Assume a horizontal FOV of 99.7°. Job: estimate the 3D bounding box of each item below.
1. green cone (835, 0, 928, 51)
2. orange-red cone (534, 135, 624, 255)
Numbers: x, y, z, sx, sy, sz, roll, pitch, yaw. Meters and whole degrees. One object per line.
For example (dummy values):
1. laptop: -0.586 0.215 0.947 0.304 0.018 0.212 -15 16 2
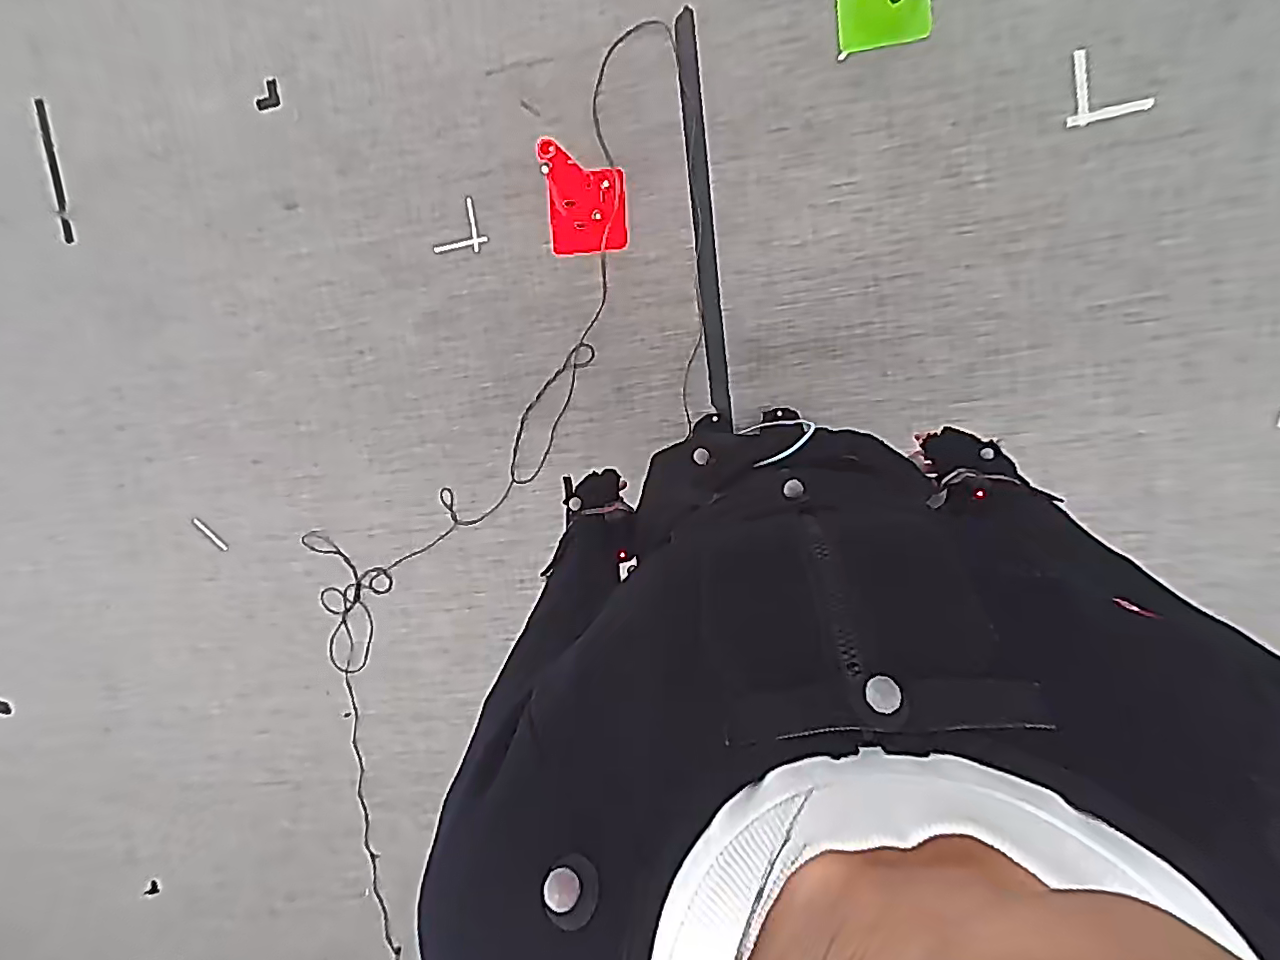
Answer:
1. green cone: 0.524 -1.069 1.055 0.202 0.368 0.200 -6 97 8
2. orange-red cone: -0.164 -0.662 1.210 0.199 0.360 0.198 -1 96 9
